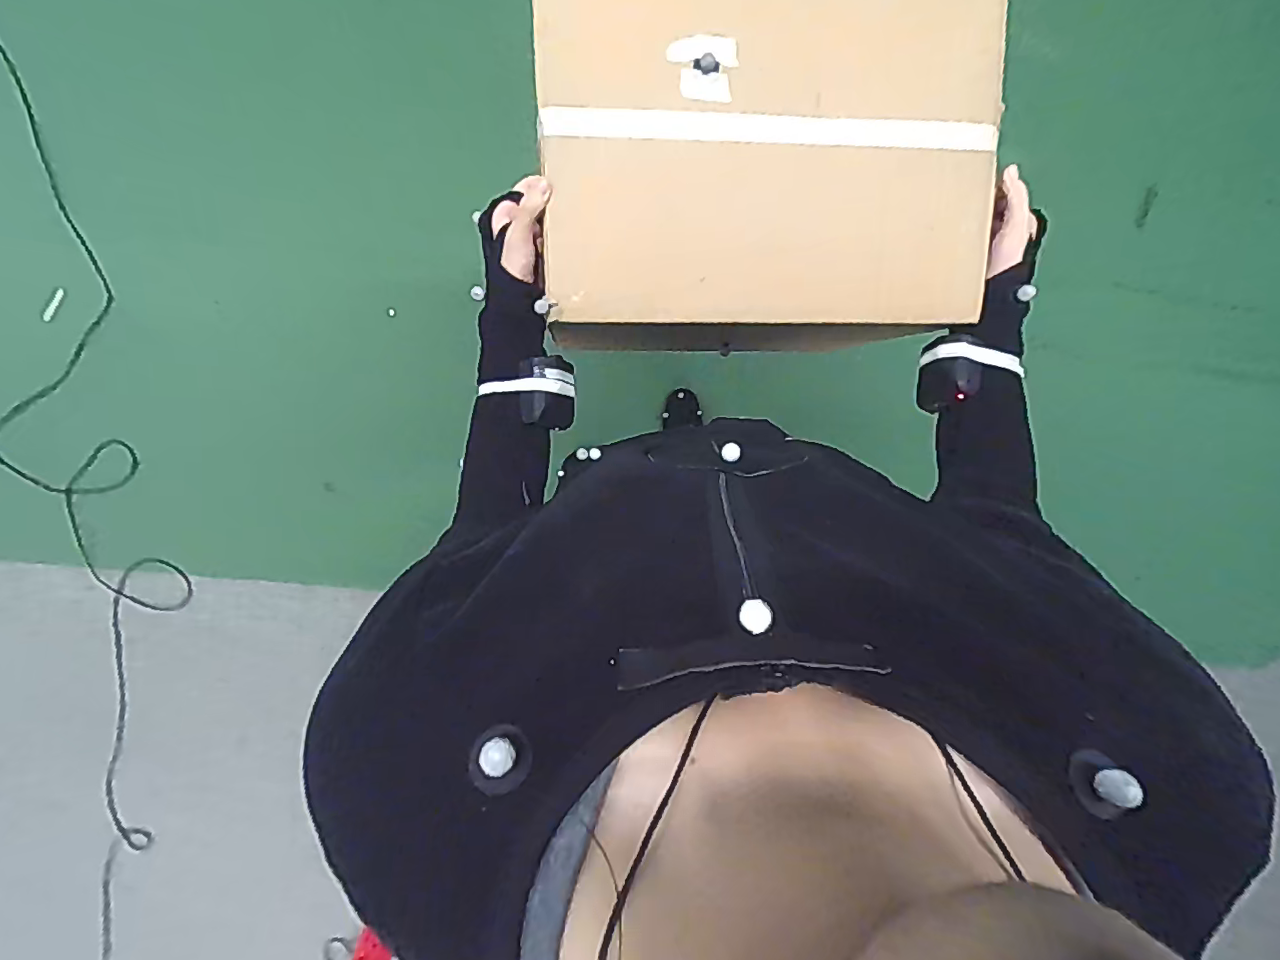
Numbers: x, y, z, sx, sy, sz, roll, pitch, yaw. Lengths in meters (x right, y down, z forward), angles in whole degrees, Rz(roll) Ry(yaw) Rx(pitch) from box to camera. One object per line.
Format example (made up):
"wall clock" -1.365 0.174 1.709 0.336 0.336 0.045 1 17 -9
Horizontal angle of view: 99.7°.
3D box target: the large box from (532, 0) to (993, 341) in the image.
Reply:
"large box" 0.100 -0.329 0.620 0.408 0.320 0.320 -2 99 -5
